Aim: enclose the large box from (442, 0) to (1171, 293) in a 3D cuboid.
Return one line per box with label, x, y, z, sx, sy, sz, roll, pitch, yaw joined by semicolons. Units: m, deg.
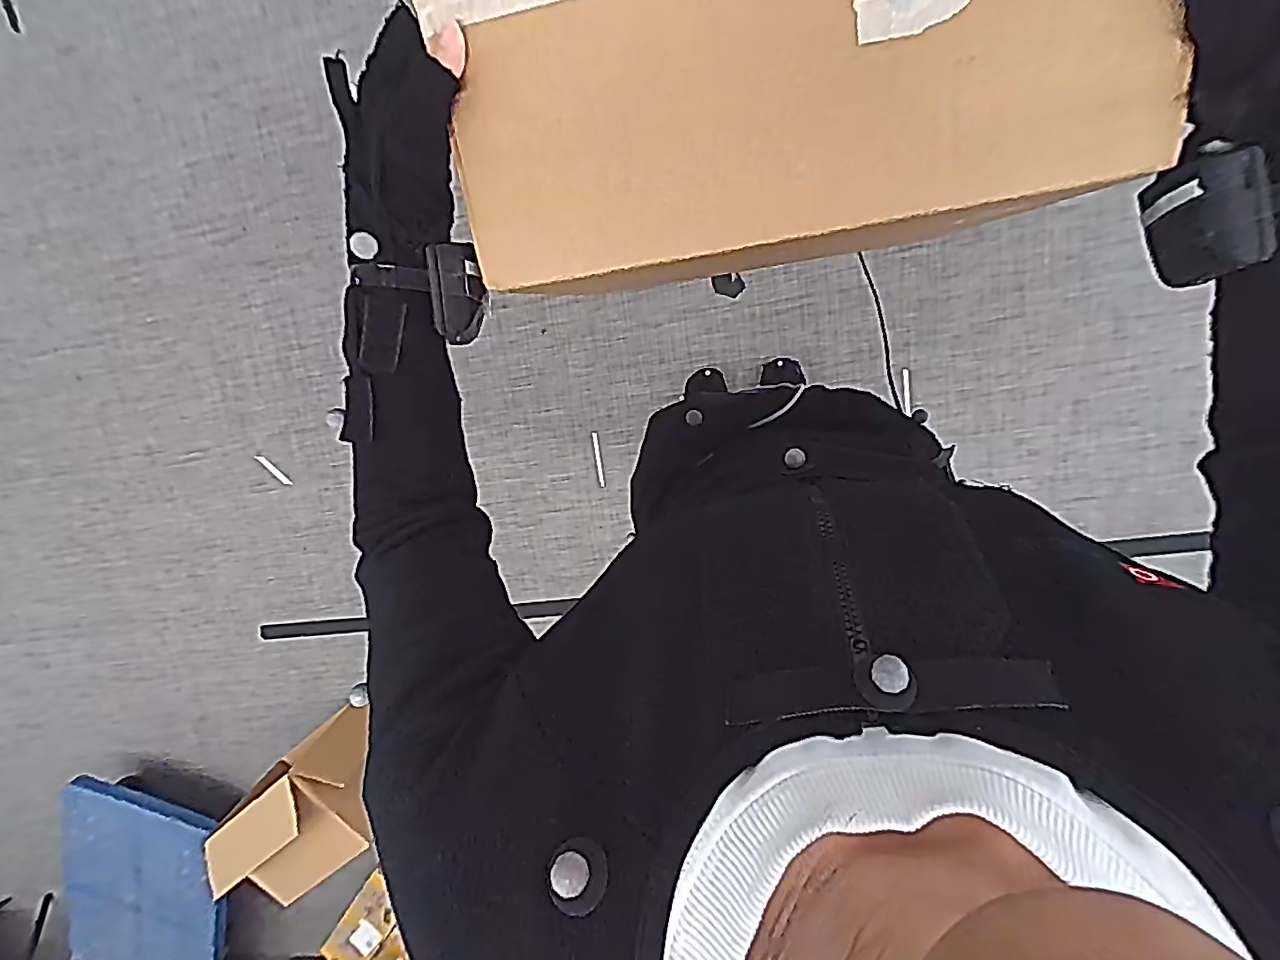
large box;0.090;-0.349;0.438;0.408;0.320;0.320;-7;108;9
